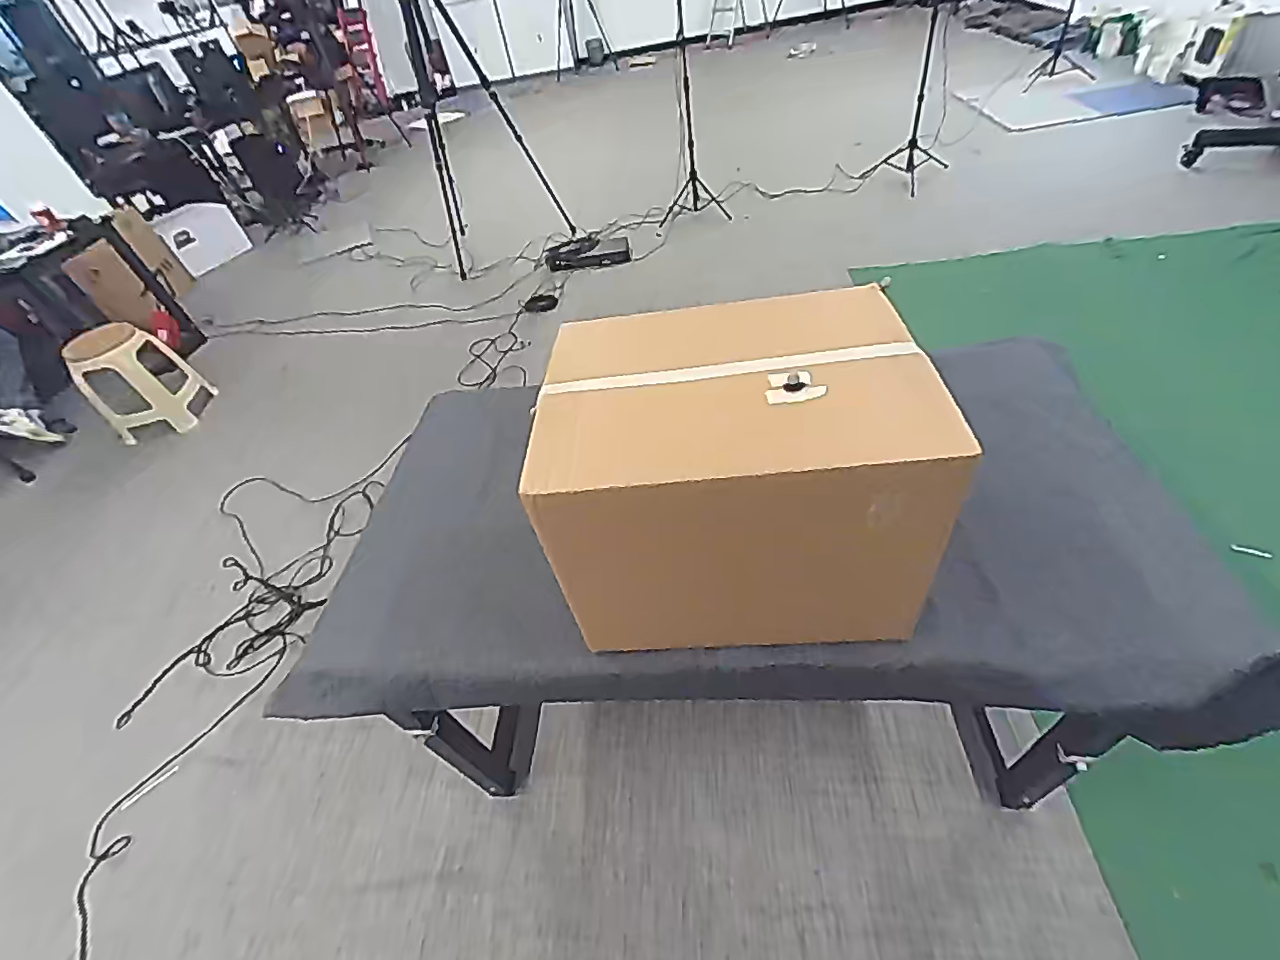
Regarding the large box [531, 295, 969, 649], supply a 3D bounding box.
[{"bbox_3d":[0.113,-0.004,0.695,0.408,0.320,0.320,-5,44,7],"label":"large box"}]
